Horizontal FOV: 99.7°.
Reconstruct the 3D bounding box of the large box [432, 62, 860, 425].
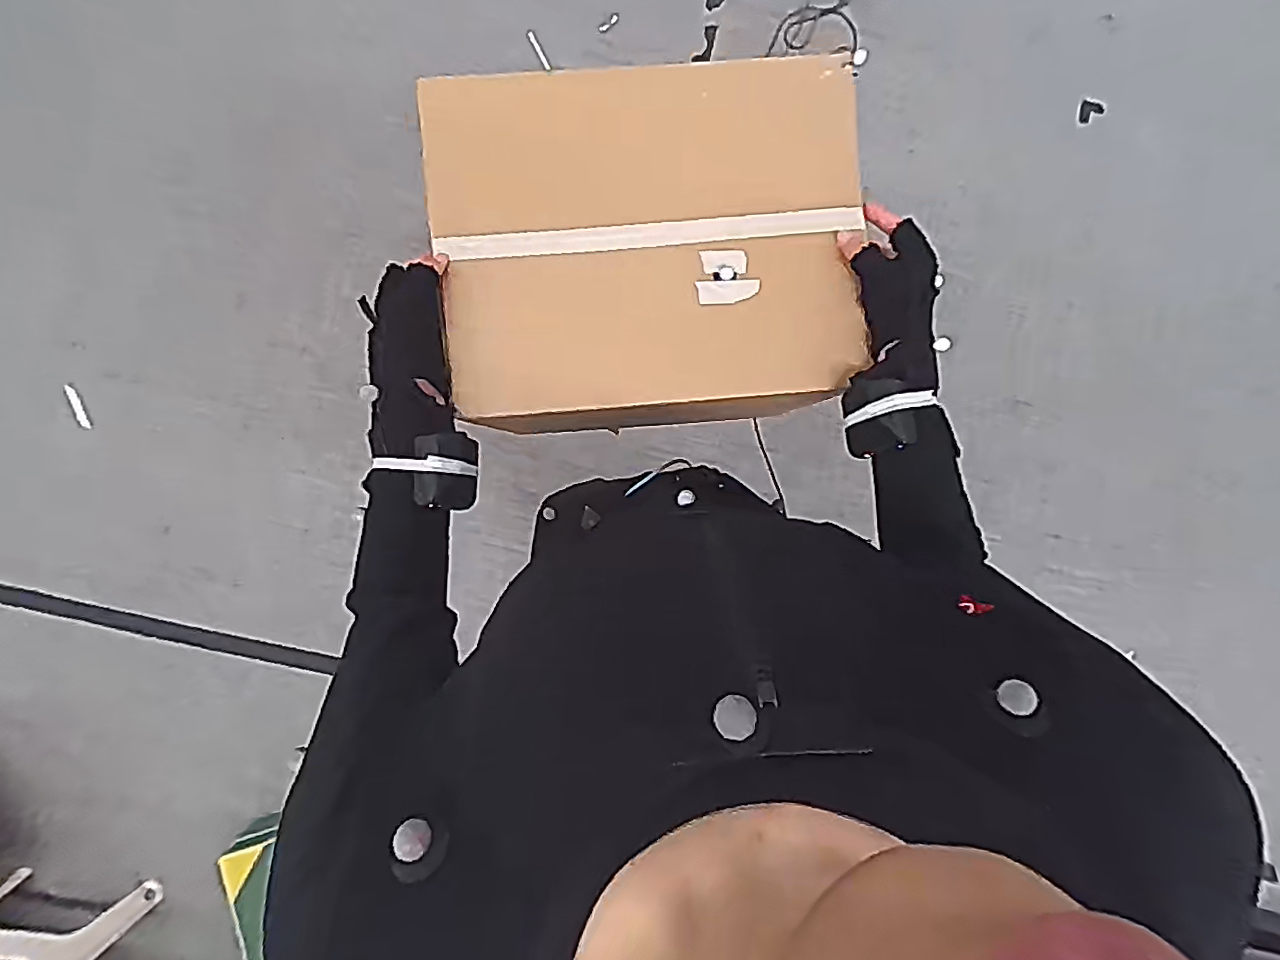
[{"bbox_3d":[0.004,-0.245,0.672,0.408,0.320,0.320,-4,93,-2],"label":"large box"}]
